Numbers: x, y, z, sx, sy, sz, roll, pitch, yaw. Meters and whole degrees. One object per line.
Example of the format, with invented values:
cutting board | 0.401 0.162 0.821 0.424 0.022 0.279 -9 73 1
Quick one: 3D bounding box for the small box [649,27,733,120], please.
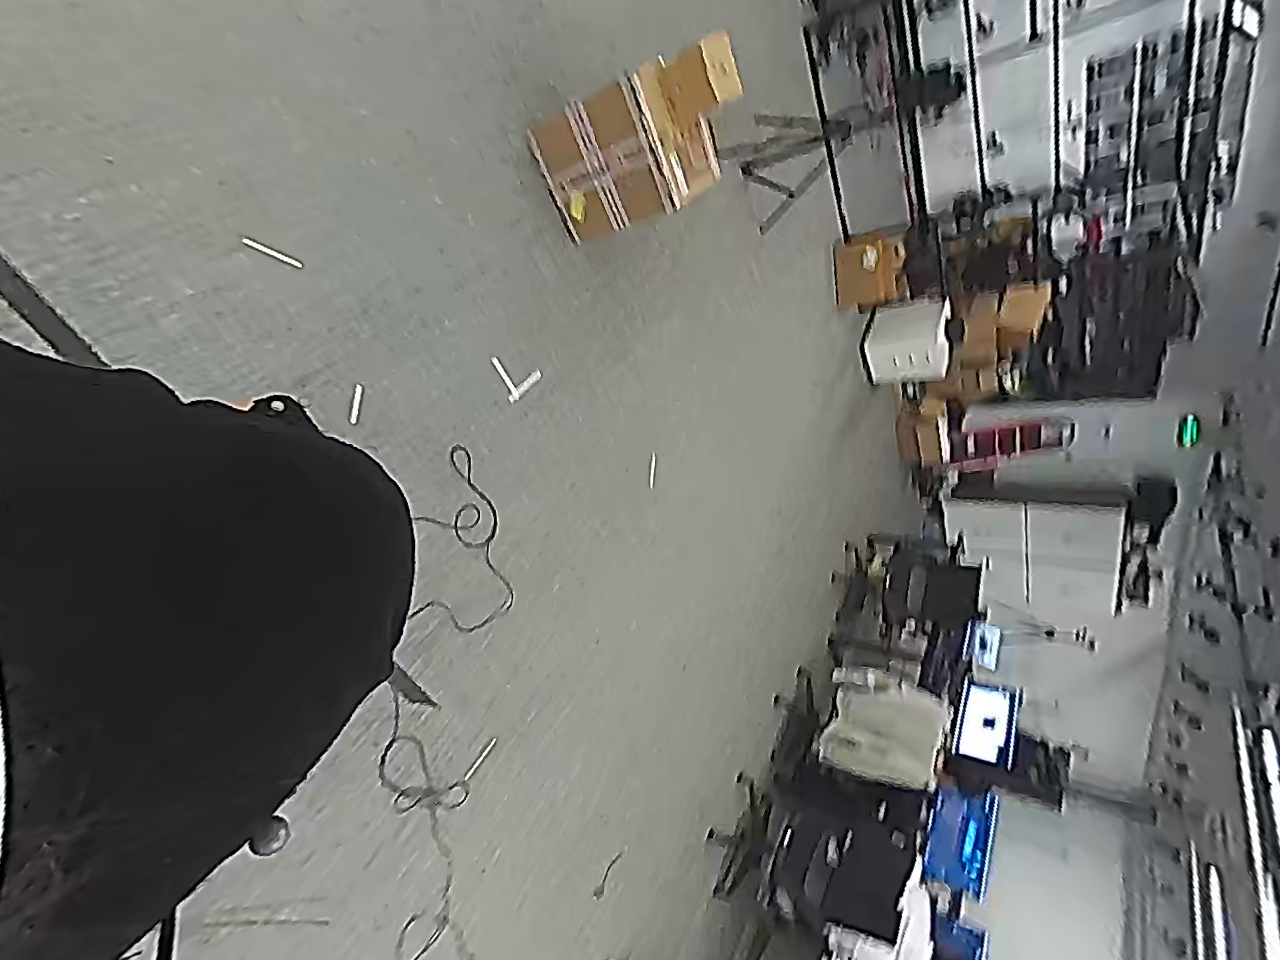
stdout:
small box | 0.157 -1.251 1.669 0.179 0.176 0.168 -49 126 -34
